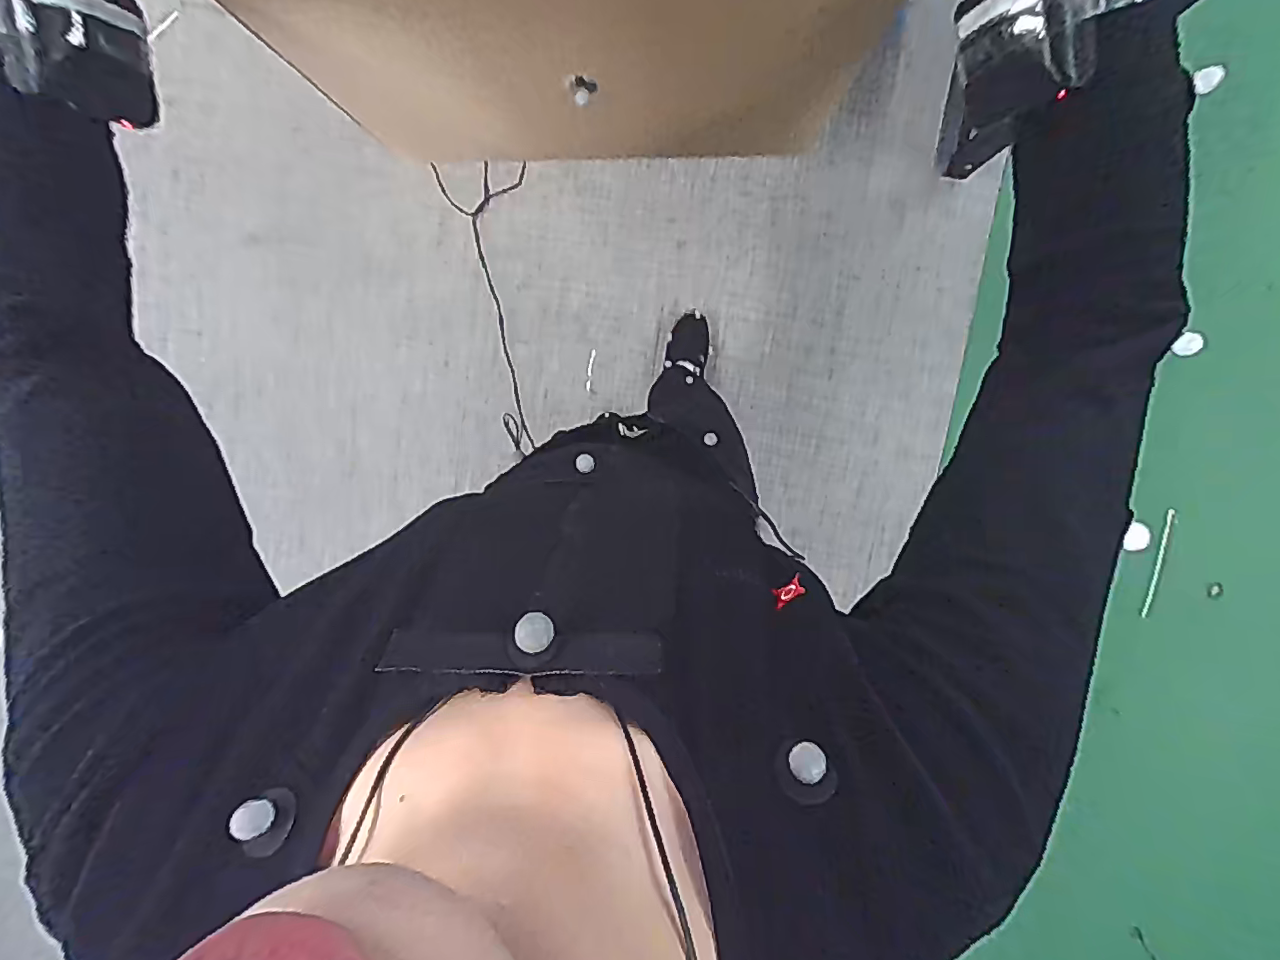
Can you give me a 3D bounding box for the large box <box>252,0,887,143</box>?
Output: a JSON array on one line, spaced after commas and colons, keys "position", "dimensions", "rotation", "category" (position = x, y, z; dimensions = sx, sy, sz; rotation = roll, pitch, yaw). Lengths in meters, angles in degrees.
[{"position": [-0.041, -0.455, 0.357], "dimensions": [0.408, 0.320, 0.320], "rotation": [0, 100, 2], "category": "large box"}]
